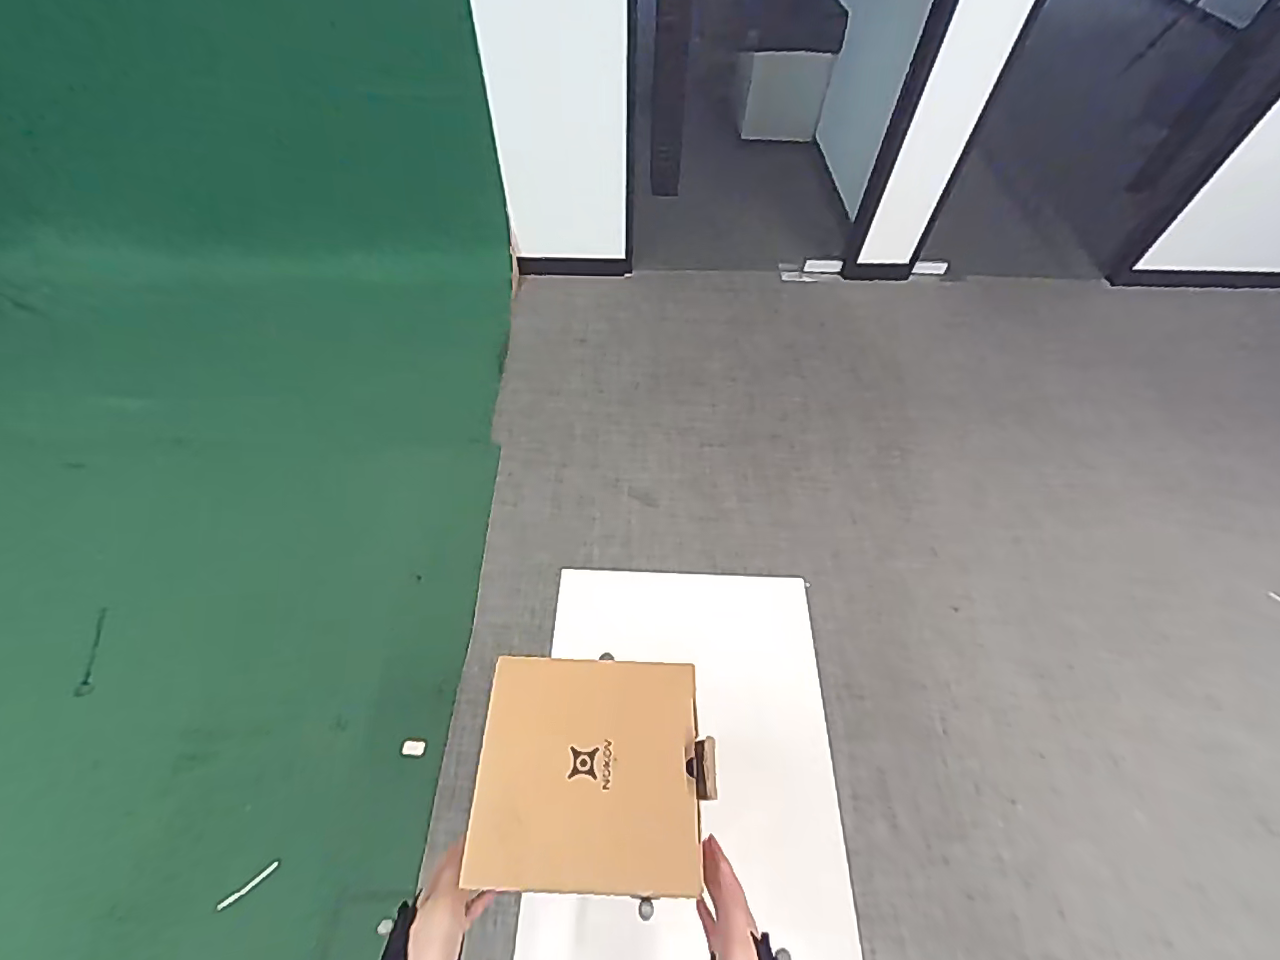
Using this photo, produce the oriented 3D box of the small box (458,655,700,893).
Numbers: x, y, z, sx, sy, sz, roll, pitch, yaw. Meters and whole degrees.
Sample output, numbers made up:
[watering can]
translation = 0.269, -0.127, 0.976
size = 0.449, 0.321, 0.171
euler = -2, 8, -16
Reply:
[small box]
translation = -0.044, 0.270, 0.493
size = 0.179, 0.176, 0.168
euler = 3, 55, -2
